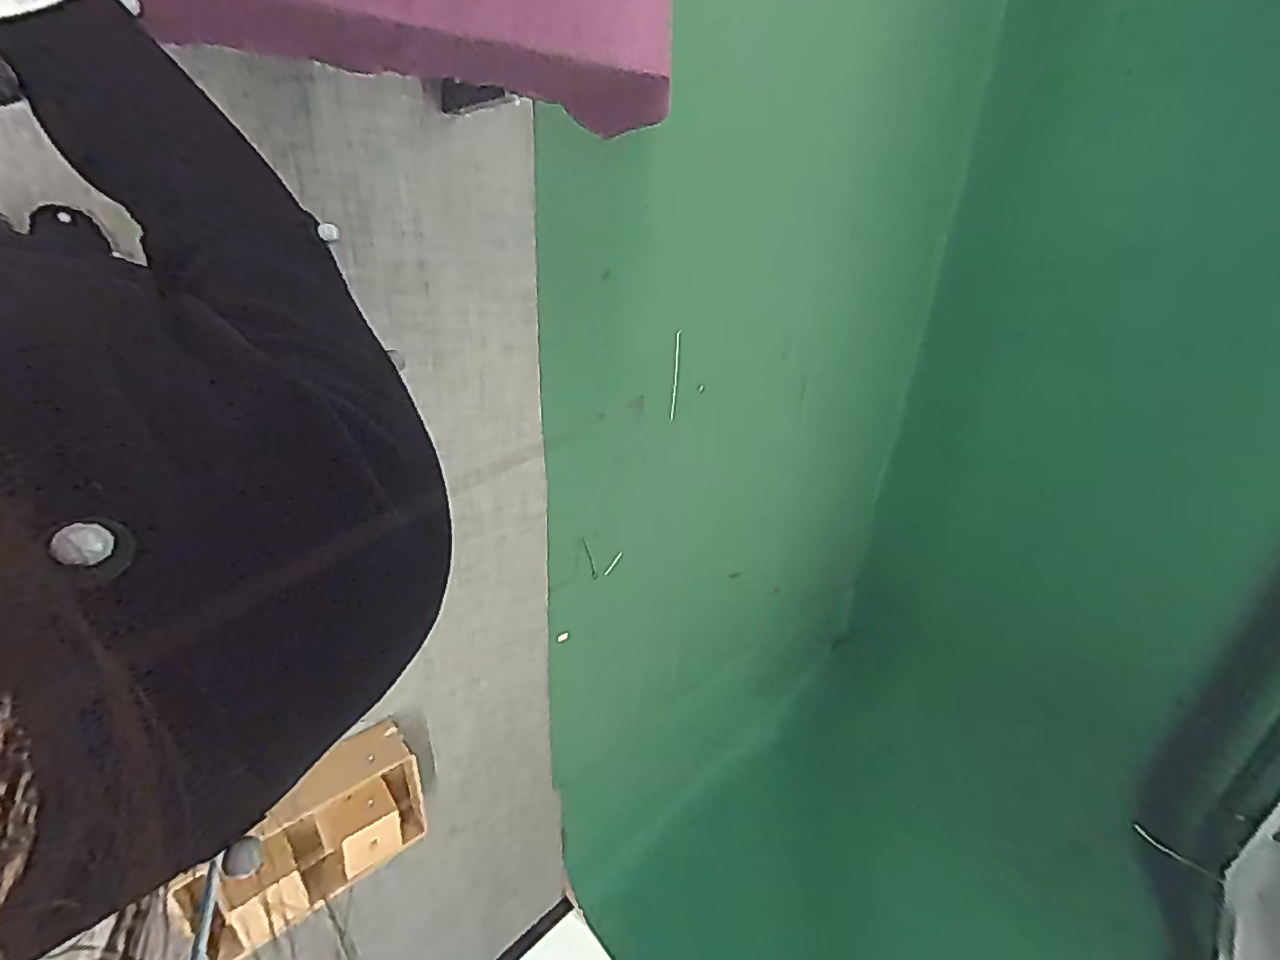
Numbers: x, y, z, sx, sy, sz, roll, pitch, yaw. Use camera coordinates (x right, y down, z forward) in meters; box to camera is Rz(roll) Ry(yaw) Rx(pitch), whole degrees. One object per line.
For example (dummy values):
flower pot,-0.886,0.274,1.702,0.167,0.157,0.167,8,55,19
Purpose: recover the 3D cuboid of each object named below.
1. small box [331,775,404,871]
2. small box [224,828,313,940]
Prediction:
small box,-0.886,1.097,1.754,0.168,0.176,0.179,-14,119,-40
small box,-1.086,1.166,1.580,0.168,0.176,0.179,-19,122,-38
